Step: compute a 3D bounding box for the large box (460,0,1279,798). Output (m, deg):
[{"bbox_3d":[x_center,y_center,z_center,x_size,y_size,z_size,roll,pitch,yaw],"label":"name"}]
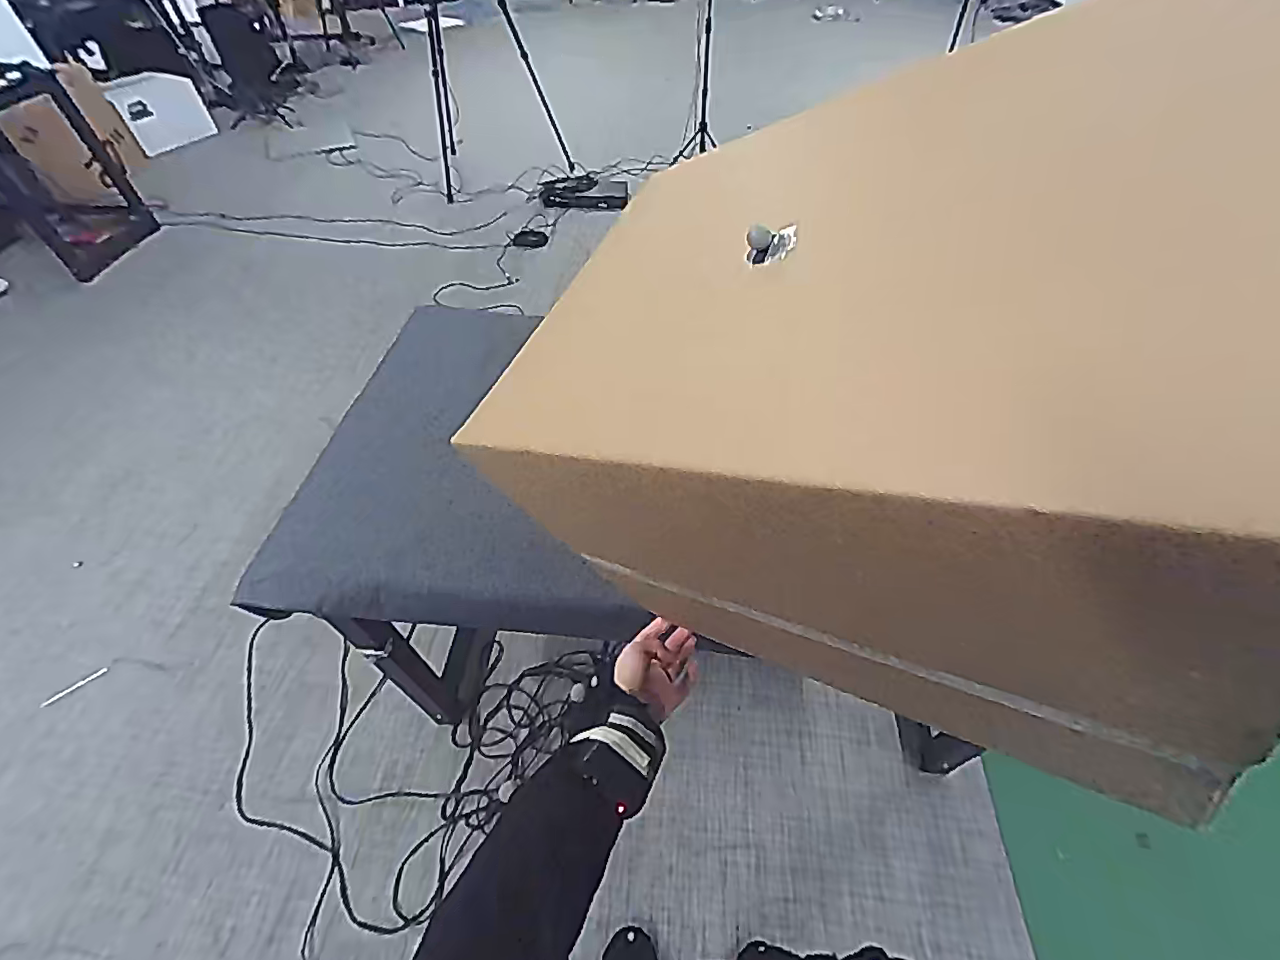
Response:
[{"bbox_3d":[0.154,-0.036,0.397,0.408,0.320,0.320,7,60,43],"label":"large box"}]
